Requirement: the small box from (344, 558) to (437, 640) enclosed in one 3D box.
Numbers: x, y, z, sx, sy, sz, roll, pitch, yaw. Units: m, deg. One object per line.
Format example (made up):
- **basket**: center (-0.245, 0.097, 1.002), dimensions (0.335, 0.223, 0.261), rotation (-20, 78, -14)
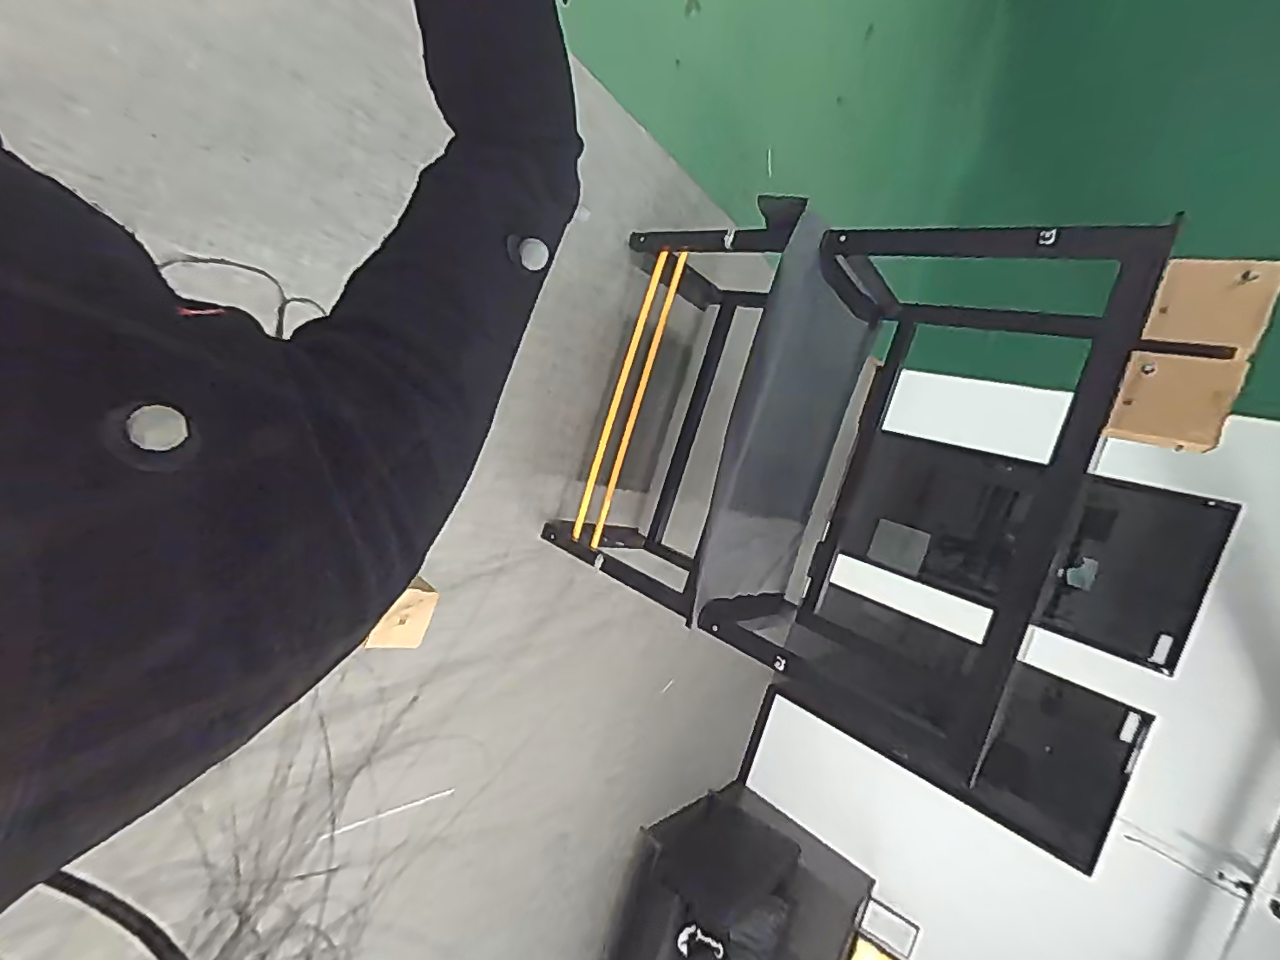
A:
- **small box**: center (-0.732, 0.347, 1.575), dimensions (0.168, 0.176, 0.179), rotation (21, 90, -52)
